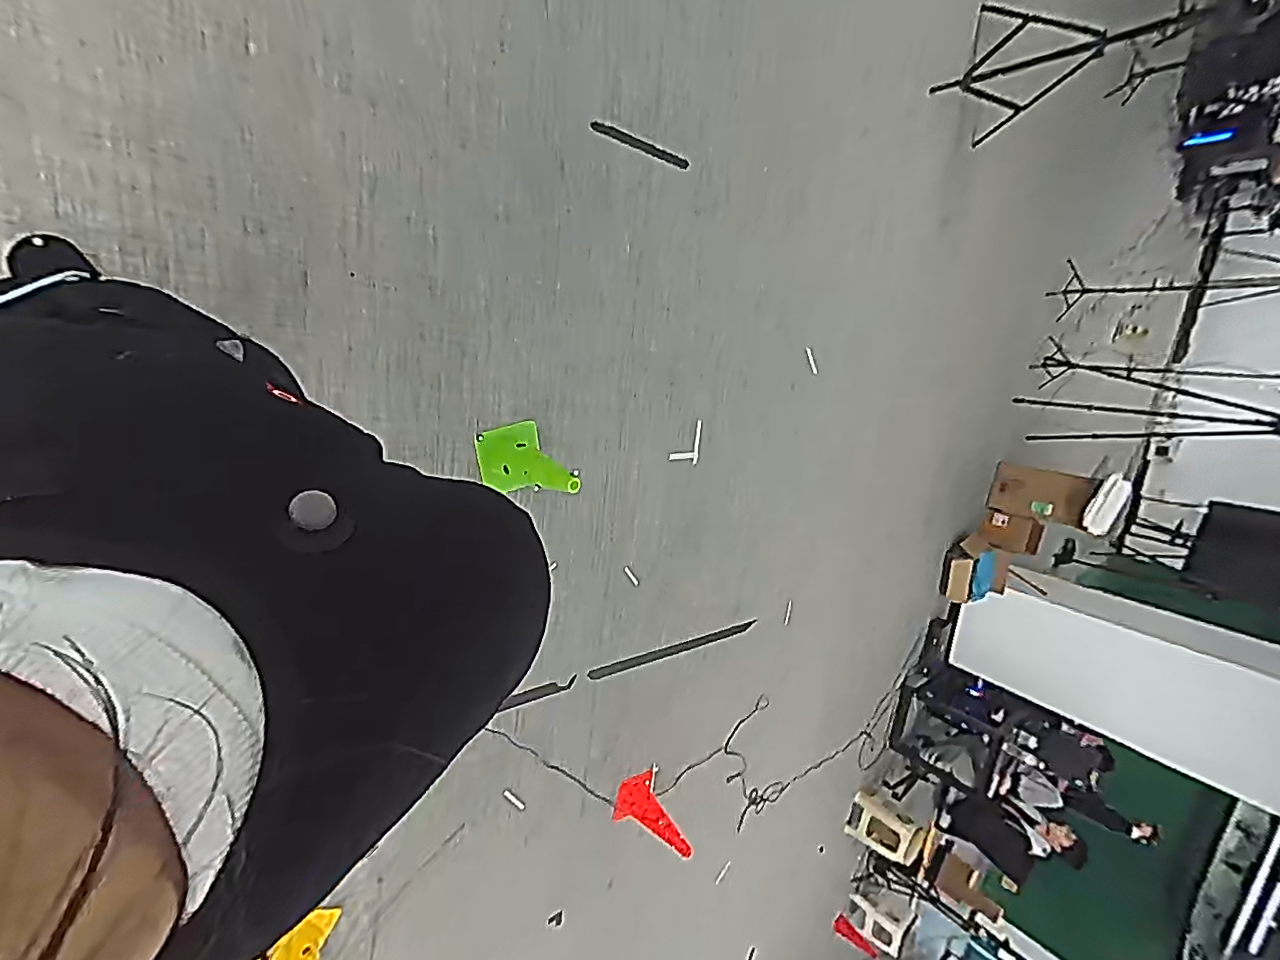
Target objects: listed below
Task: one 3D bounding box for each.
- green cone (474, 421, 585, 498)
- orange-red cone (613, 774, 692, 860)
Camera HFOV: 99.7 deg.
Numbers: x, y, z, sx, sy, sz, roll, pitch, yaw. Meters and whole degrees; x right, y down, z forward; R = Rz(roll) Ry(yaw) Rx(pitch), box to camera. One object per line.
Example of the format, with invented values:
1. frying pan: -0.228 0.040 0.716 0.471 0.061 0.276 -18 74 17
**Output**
1. green cone: -0.275 -0.023 1.487 0.202 0.368 0.200 -22 118 -36
2. orange-red cone: 0.079 1.440 2.253 0.199 0.360 0.198 7 98 -41
